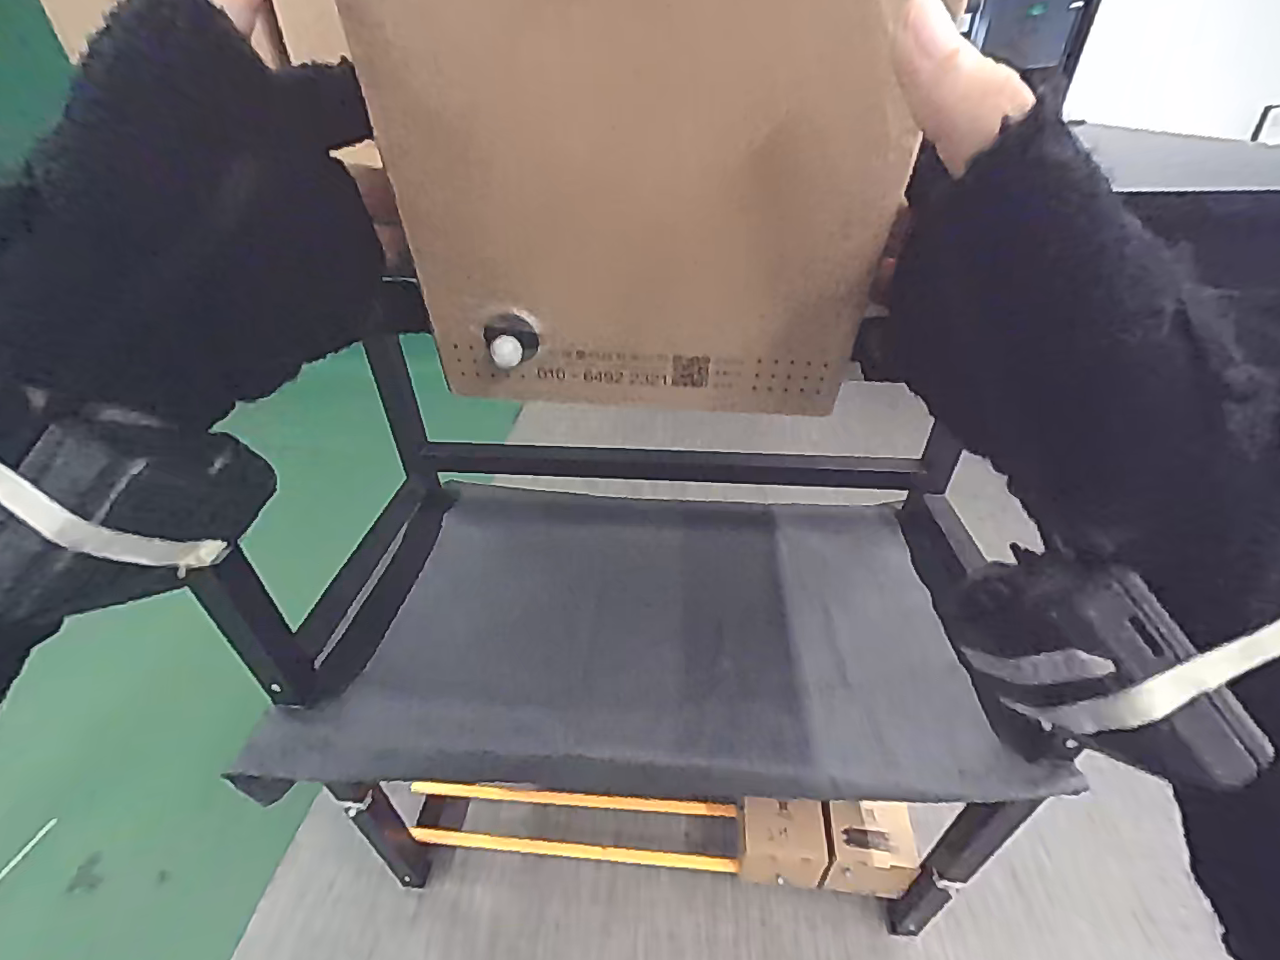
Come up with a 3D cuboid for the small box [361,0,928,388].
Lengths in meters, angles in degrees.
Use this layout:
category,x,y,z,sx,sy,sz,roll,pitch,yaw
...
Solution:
category,x,y,z,sx,sy,sz,roll,pitch,yaw
small box,0.008,-0.156,0.241,0.168,0.176,0.179,3,43,2
